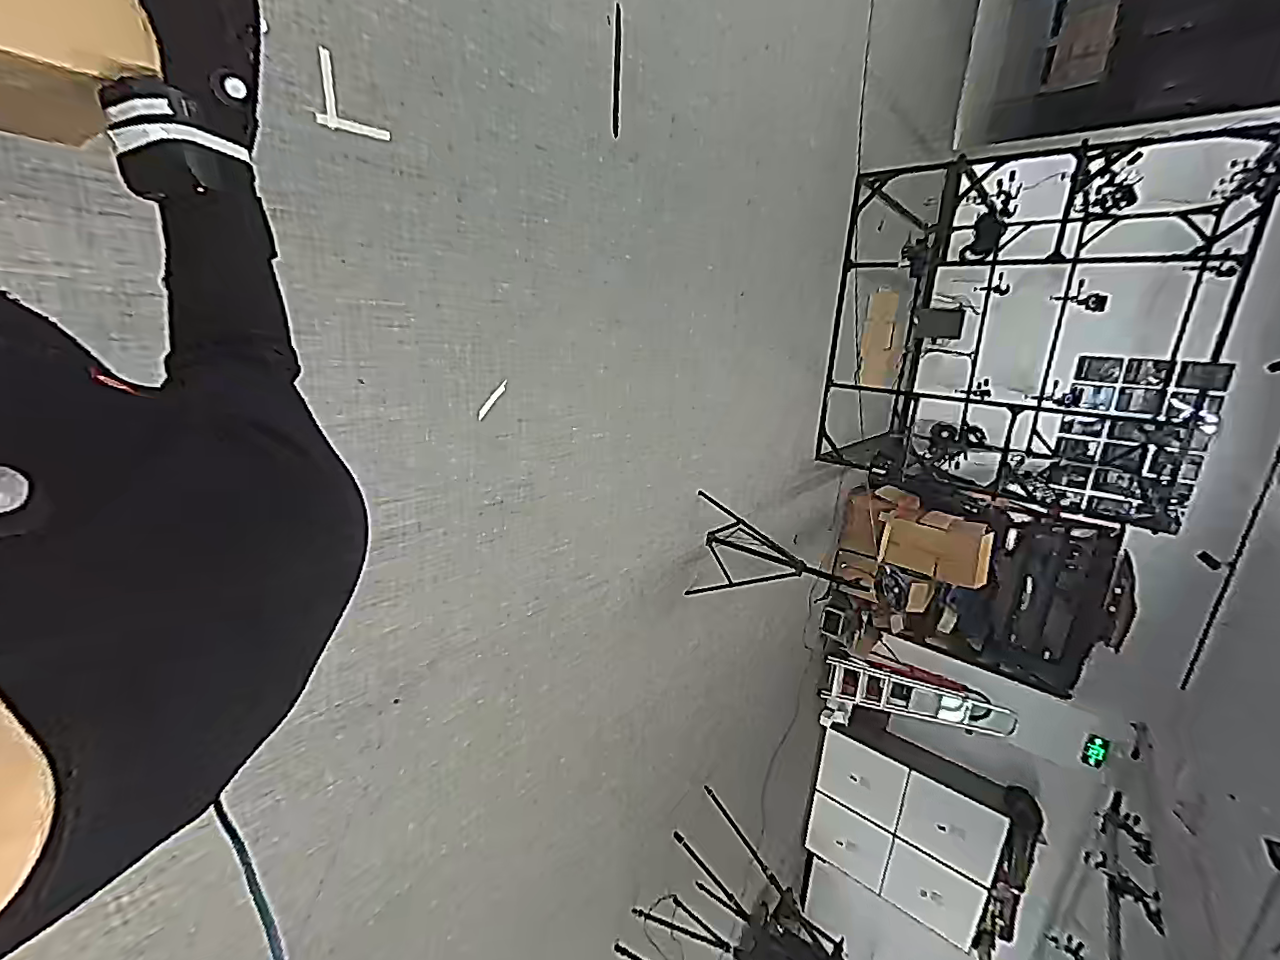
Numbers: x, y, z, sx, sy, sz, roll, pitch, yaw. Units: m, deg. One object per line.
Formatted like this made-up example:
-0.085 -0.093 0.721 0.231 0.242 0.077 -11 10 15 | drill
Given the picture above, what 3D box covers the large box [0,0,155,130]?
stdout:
-0.573 -0.425 0.272 0.408 0.320 0.320 -17 118 -51 | large box
